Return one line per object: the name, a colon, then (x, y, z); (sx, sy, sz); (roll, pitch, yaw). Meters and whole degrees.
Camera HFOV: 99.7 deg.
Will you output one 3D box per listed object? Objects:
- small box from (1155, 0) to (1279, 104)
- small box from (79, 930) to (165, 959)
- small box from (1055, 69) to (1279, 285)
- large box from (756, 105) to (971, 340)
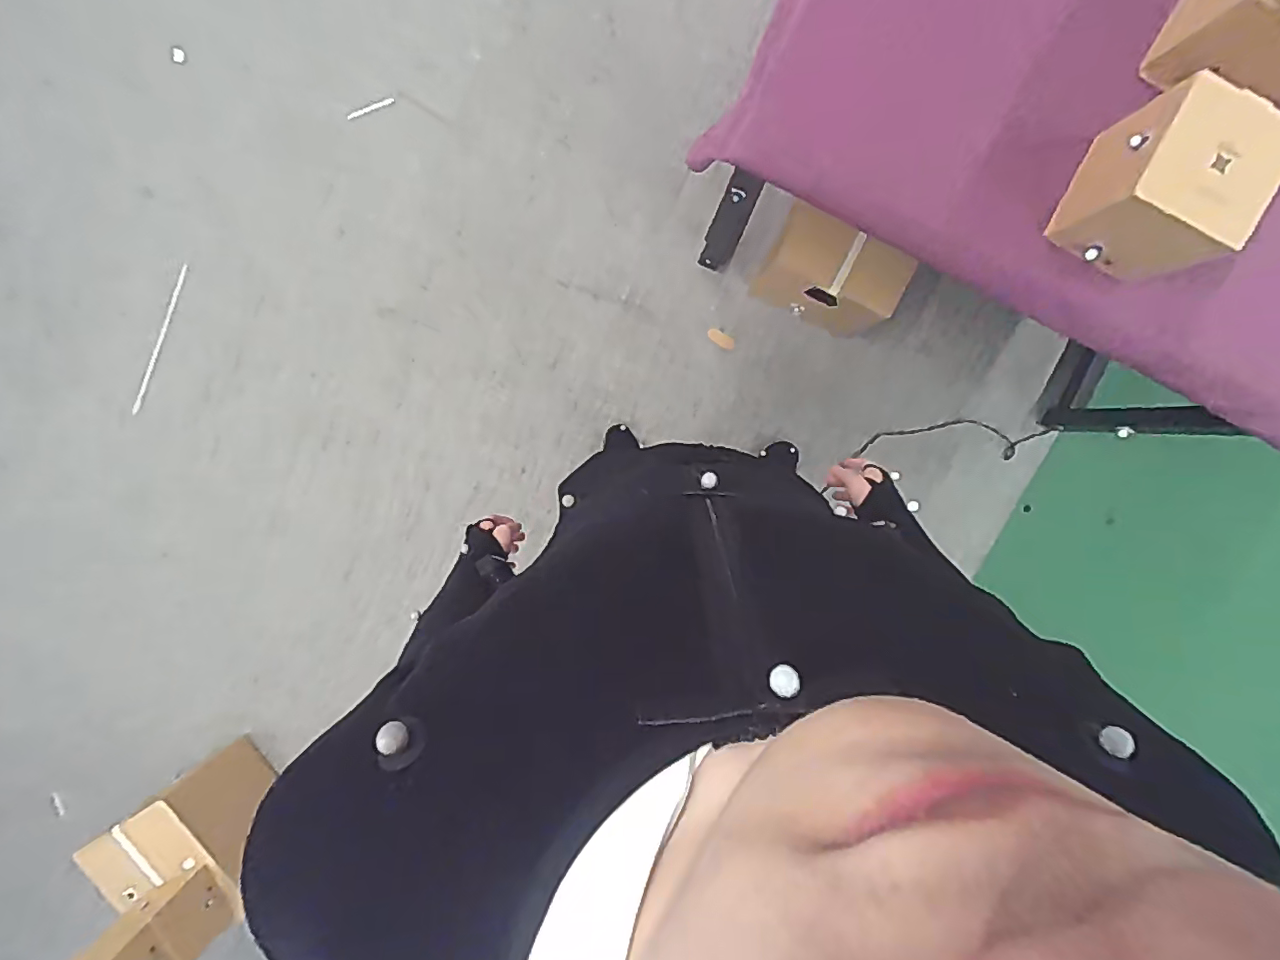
small box: (0.880, -0.647, 0.738); (0.168, 0.176, 0.179); (27, 97, -3)
small box: (-1.209, 1.166, 1.201); (0.179, 0.176, 0.168); (-23, 95, 1)
small box: (0.747, -0.408, 0.763); (0.168, 0.176, 0.179); (27, 95, -2)
large box: (0.547, -0.631, 1.406); (0.320, 0.320, 0.408); (25, 95, -3)
